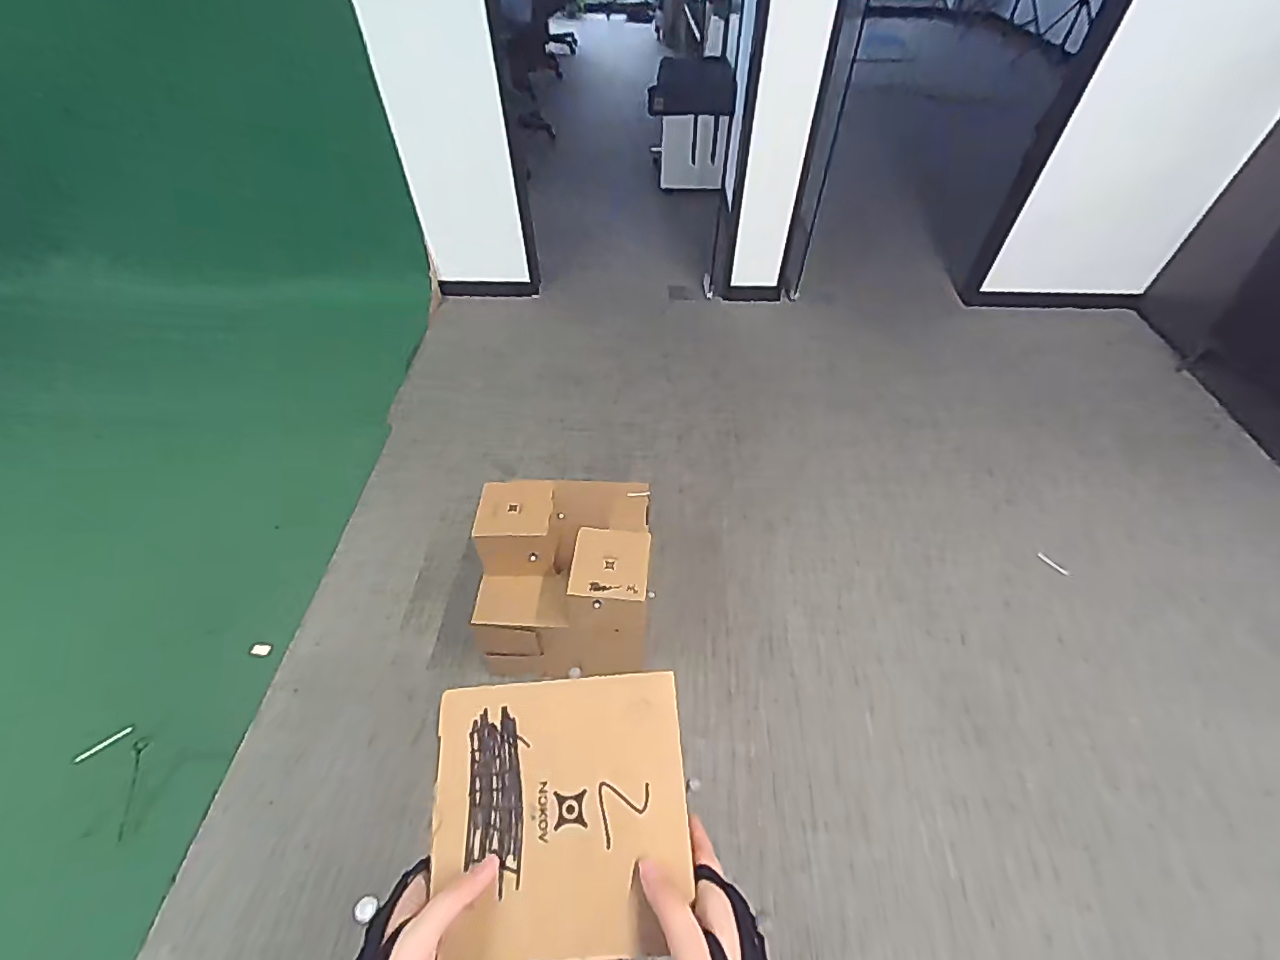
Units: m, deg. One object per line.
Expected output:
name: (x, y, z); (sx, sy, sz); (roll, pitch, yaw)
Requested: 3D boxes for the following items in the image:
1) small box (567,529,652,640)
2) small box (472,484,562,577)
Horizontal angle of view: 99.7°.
small box: (-0.065, 0.237, 1.227); (0.168, 0.176, 0.179); (5, 48, 3)
small box: (-0.292, 0.126, 1.328); (0.179, 0.176, 0.168); (0, 47, 1)
